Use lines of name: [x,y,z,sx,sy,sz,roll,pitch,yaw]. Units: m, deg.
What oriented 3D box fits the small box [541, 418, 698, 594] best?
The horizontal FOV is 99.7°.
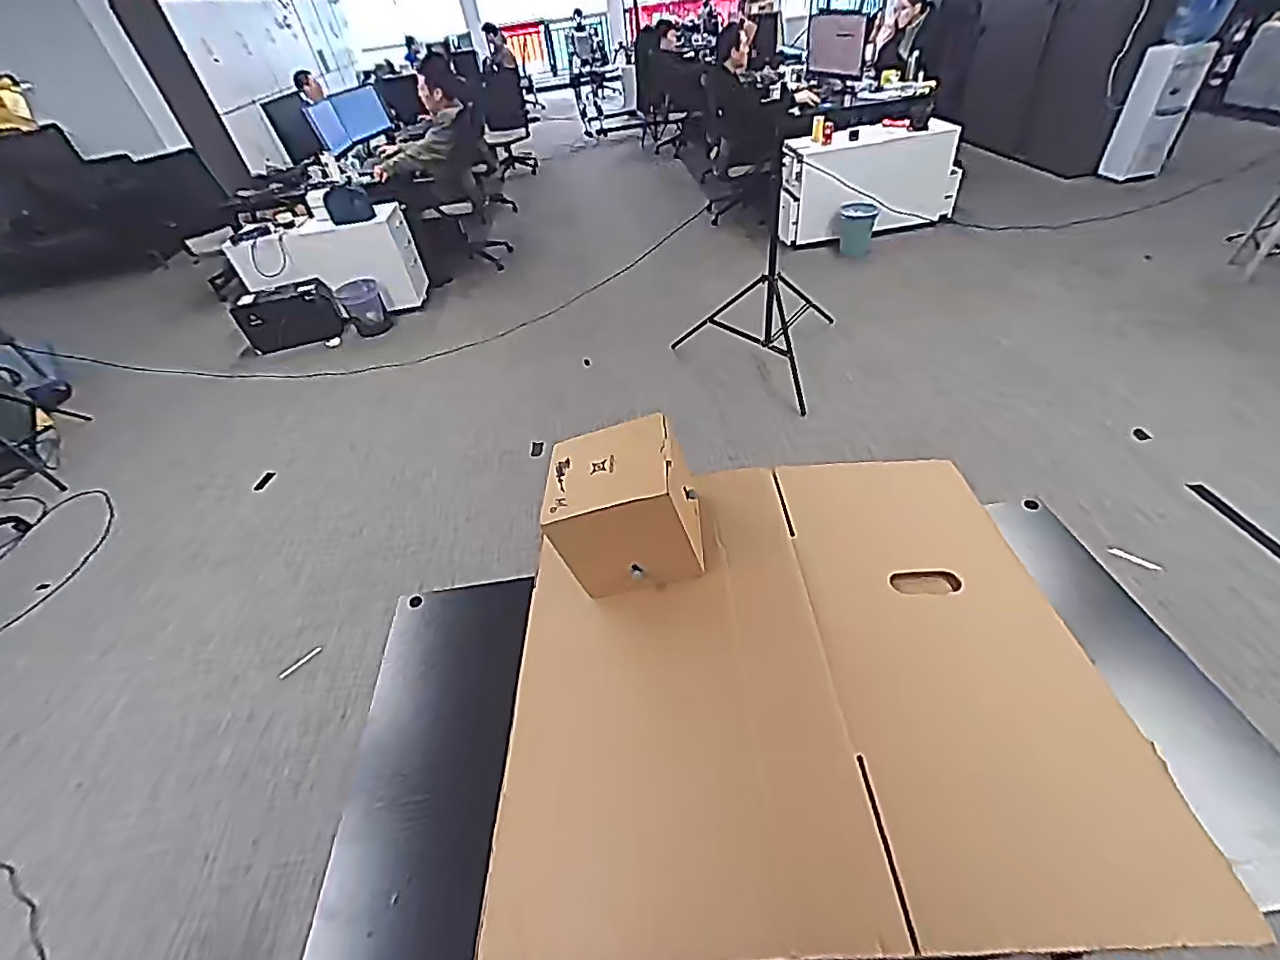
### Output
small box: [-0.019,0.042,0.780,0.179,0.176,0.168,-14,41,13]
